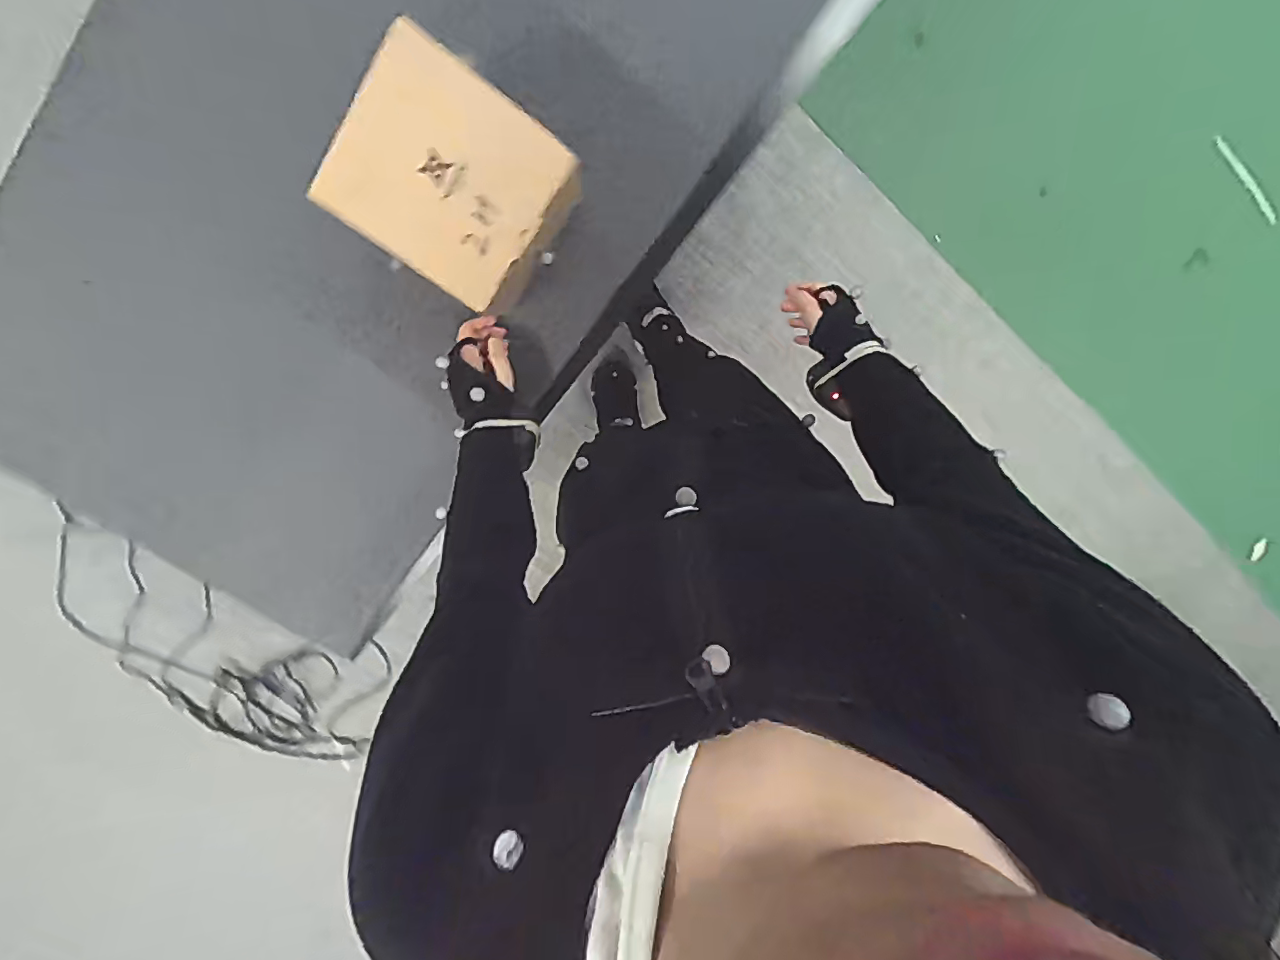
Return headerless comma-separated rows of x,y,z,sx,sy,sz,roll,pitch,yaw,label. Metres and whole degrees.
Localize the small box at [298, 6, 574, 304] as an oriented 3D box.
-0.181,-0.290,0.538,0.179,0.176,0.168,33,101,-13,small box
